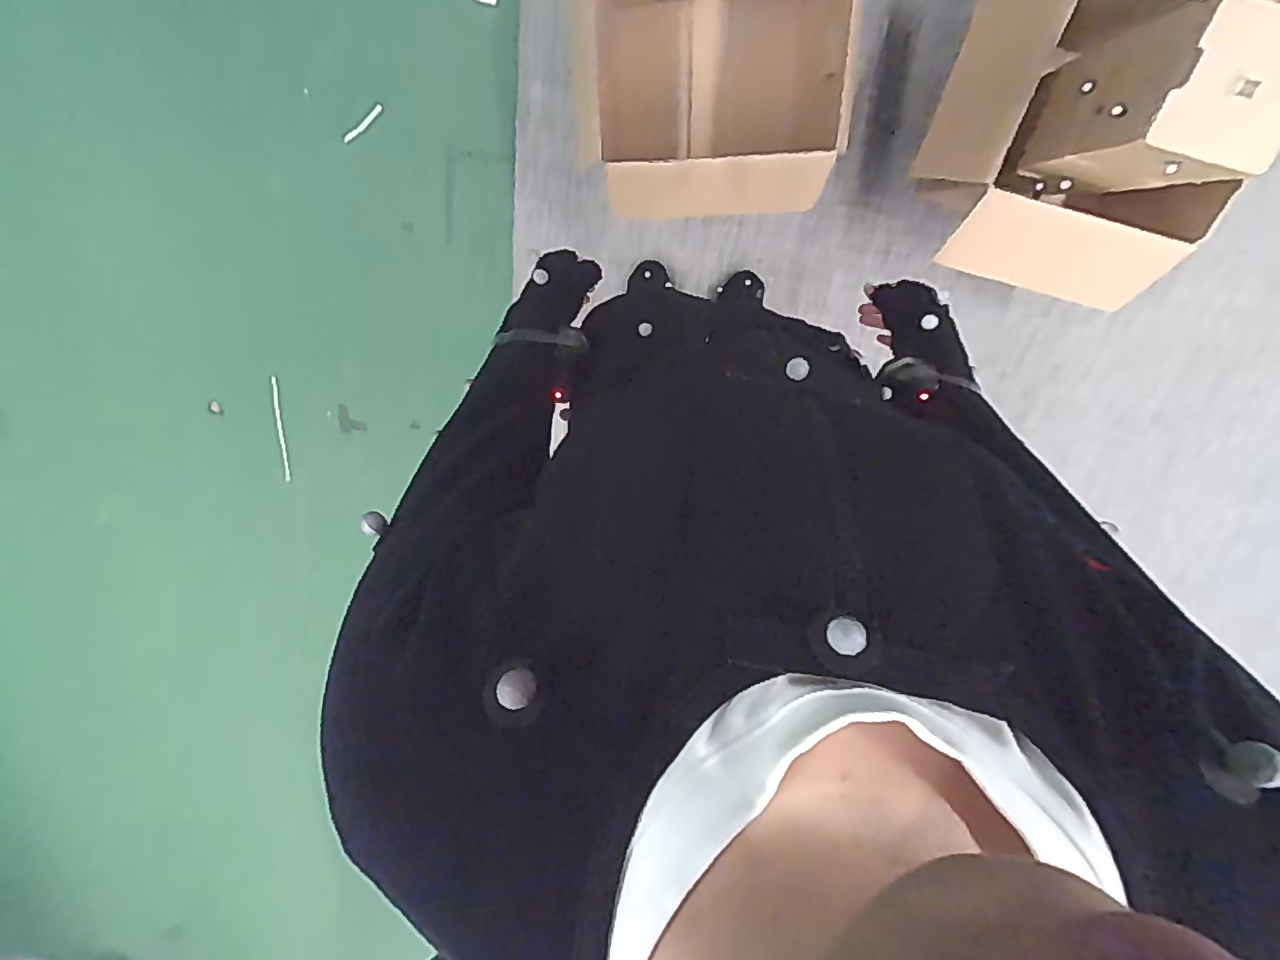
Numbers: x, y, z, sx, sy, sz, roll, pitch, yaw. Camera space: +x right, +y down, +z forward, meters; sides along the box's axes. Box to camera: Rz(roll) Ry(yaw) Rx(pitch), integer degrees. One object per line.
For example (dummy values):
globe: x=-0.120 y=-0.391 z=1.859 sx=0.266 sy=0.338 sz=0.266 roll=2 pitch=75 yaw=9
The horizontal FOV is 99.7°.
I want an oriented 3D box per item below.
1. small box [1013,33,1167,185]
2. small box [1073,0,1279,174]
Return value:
small box: x=0.795 y=-0.613 z=0.918 sx=0.179 sy=0.176 sz=0.168 roll=14 pitch=114 yaw=-1
small box: x=0.783 y=-0.548 z=0.770 sx=0.179 sy=0.176 sz=0.168 roll=14 pitch=117 yaw=-2
